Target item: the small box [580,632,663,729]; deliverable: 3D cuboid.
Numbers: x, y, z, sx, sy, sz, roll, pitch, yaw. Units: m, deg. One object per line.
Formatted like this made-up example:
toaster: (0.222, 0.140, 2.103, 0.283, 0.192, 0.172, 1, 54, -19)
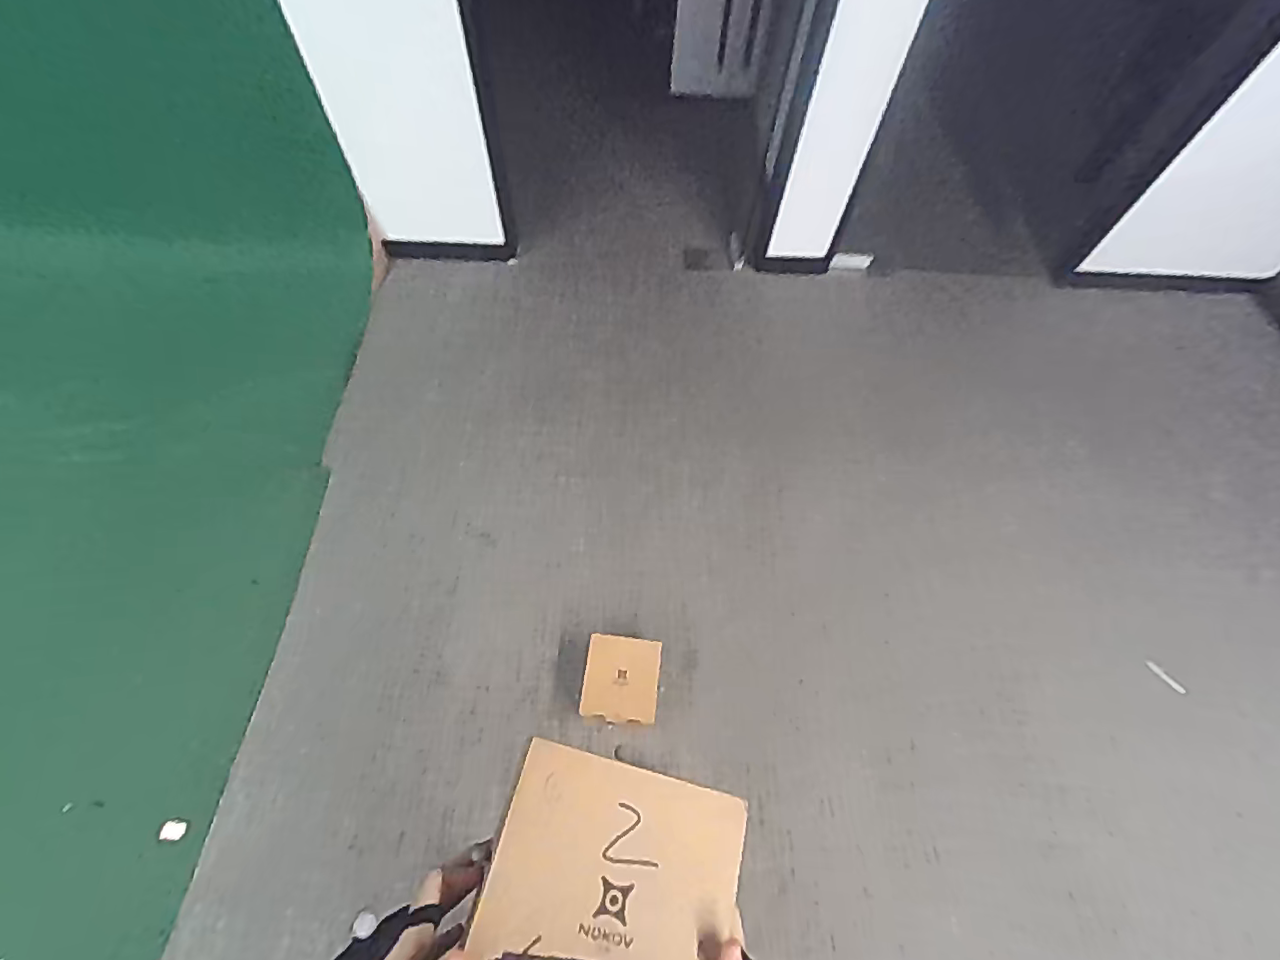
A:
small box: (-0.044, 0.475, 1.274, 0.168, 0.176, 0.179, 8, 61, 1)
